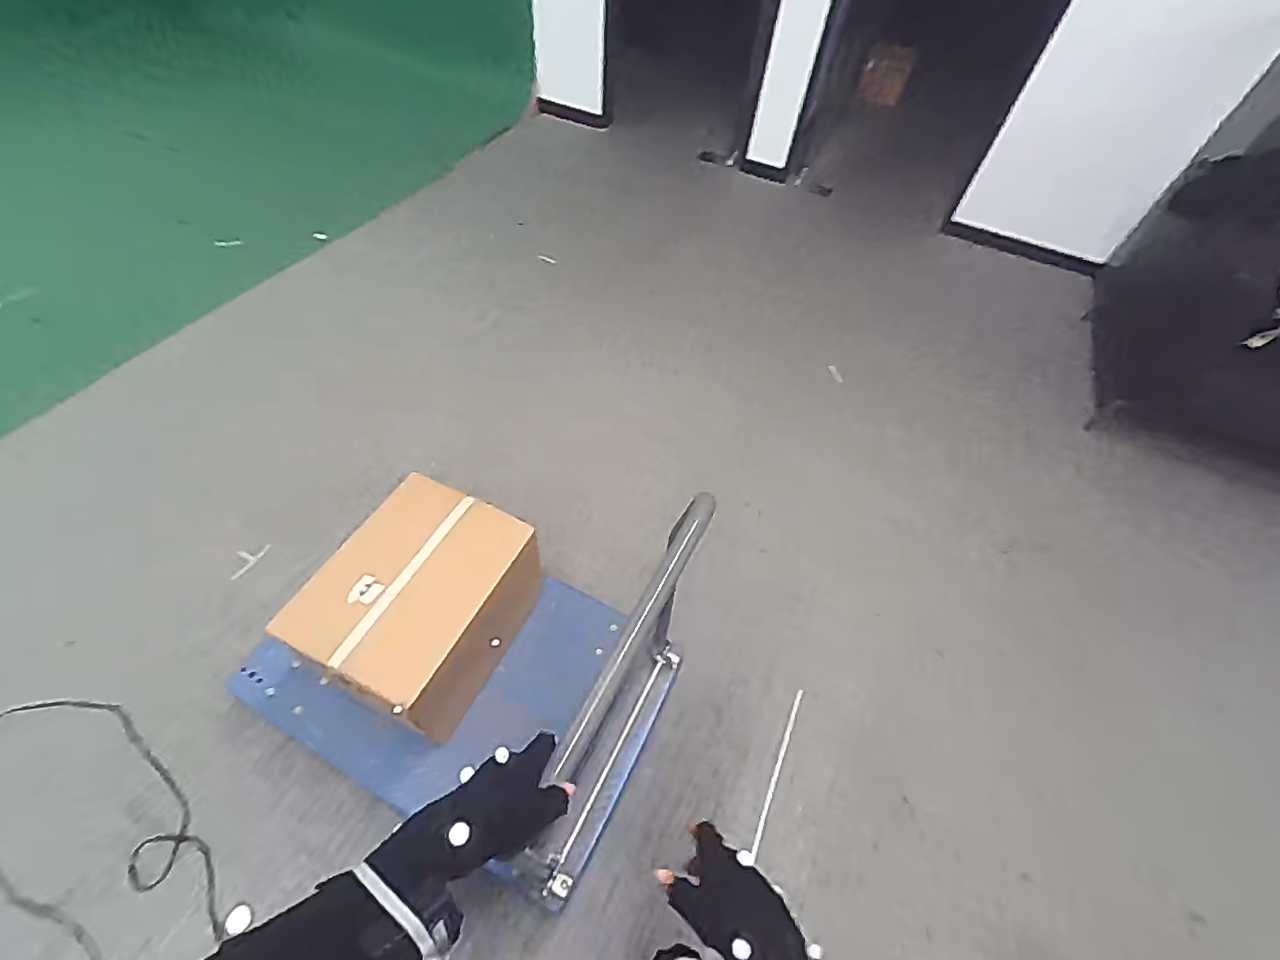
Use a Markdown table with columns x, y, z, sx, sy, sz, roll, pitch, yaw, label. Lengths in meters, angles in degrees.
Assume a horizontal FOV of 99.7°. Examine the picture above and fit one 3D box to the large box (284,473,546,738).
| x | y | z | sx | sy | sz | roll | pitch | yaw | label |
| --- | --- | --- | --- | --- | --- | --- | --- | --- | --- |
| -0.435 | 0.267 | 1.168 | 0.320 | 0.320 | 0.408 | 23 | 55 | 11 | large box |
